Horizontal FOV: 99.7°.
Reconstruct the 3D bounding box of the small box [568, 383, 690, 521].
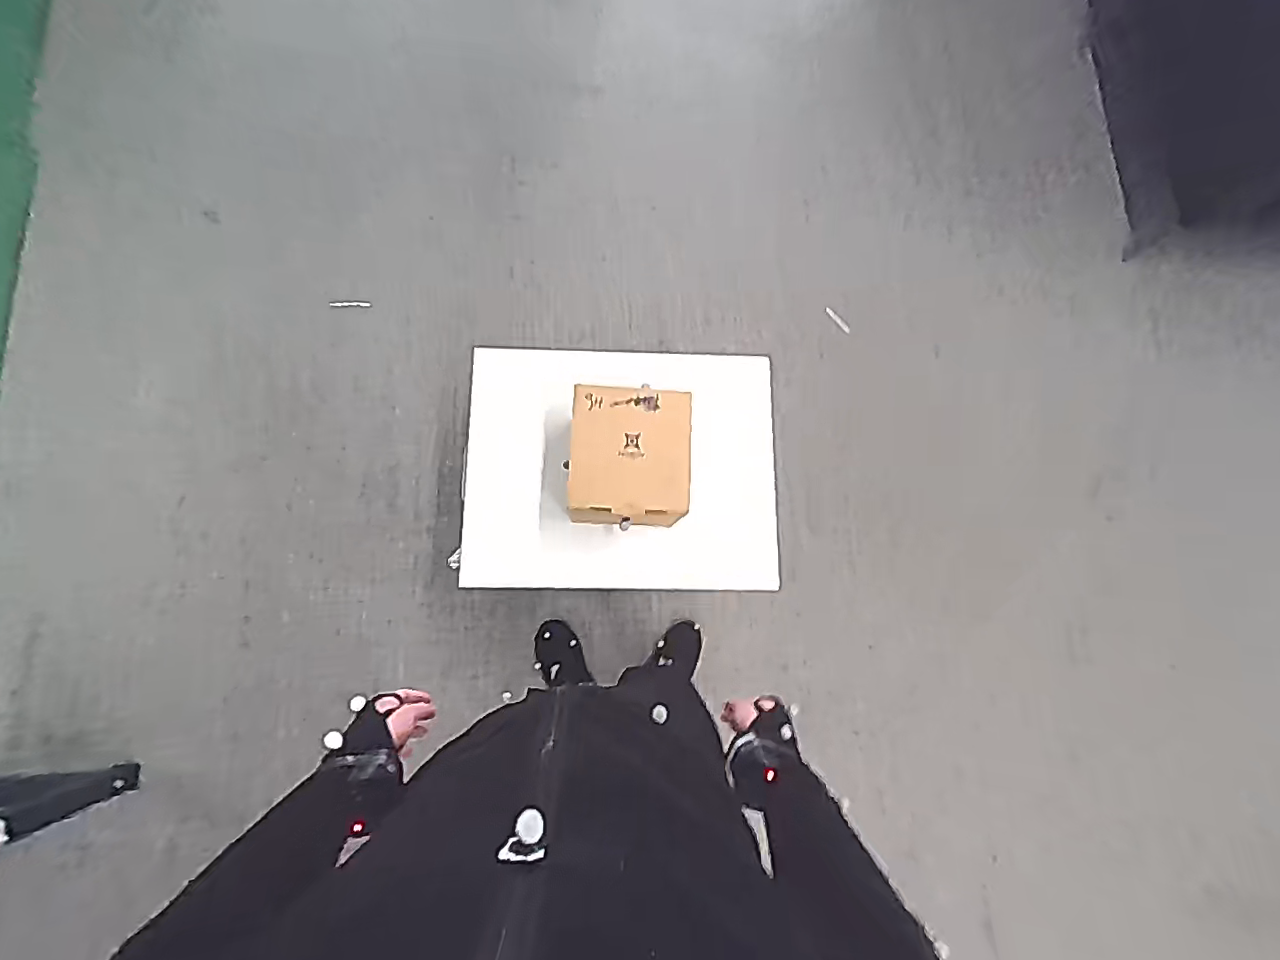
[{"bbox_3d":[-0.017,-0.033,0.819,0.168,0.176,0.179,1,78,-4],"label":"small box"}]
